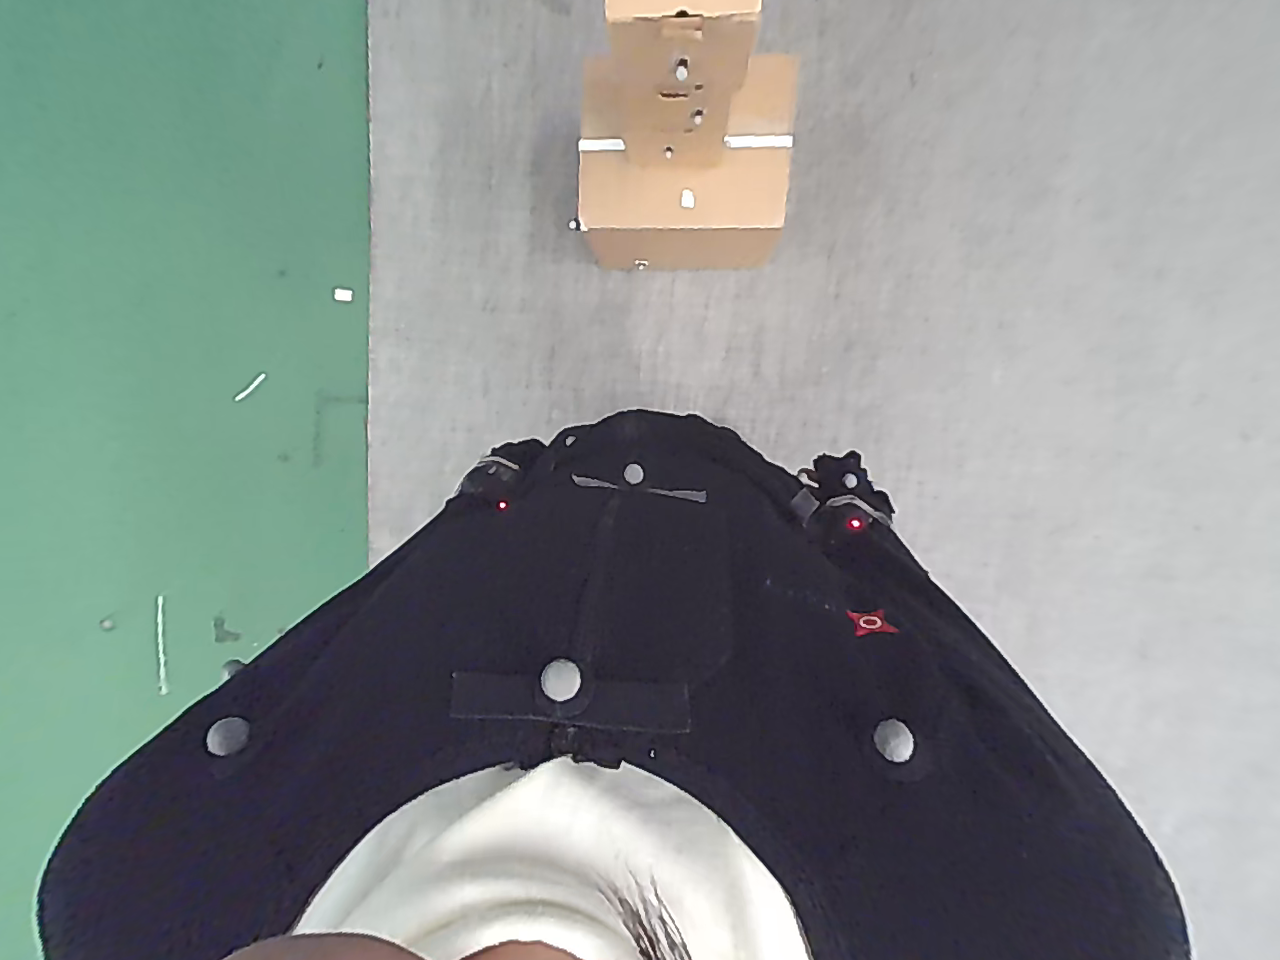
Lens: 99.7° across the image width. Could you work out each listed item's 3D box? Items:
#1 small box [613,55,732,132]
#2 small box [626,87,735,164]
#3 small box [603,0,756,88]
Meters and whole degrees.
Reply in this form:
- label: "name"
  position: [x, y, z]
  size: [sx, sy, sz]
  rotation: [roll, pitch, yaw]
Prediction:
- label: "small box"
  position: [0.055, -0.632, 0.787]
  size: [0.168, 0.176, 0.179]
  rotation: [2, 102, 4]
- label: "small box"
  position: [0.071, -0.668, 0.944]
  size: [0.179, 0.176, 0.168]
  rotation: [2, 104, 5]
- label: "small box"
  position: [0.052, -0.587, 0.629]
  size: [0.168, 0.176, 0.179]
  rotation: [3, 104, 5]
